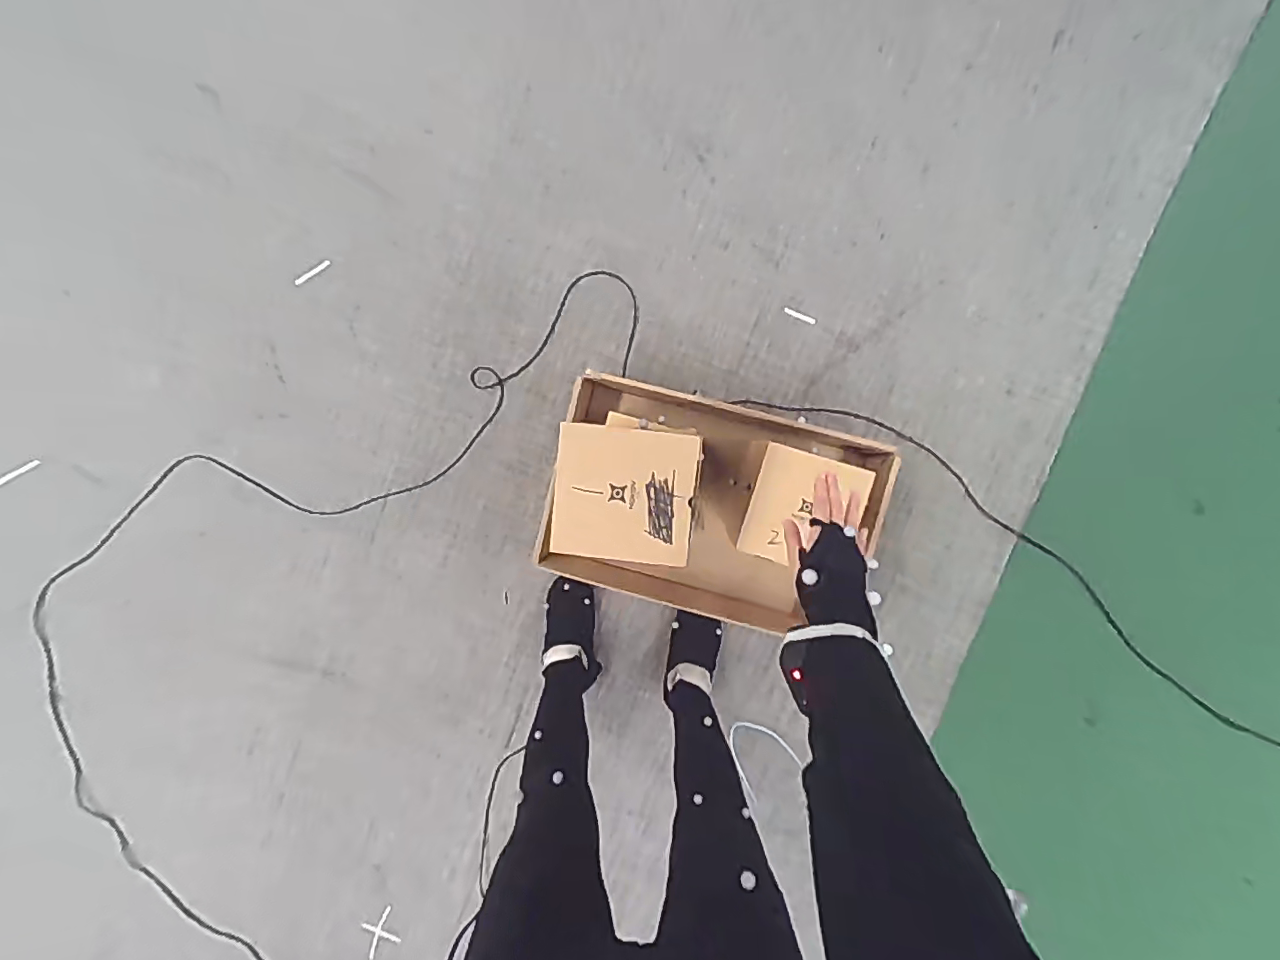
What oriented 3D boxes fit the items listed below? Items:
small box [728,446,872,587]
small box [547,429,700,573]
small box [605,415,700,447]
[{"bbox_3d":[0.249,0.050,0.891,0.168,0.176,0.179,18,95,3],"label":"small box"},{"bbox_3d":[-0.018,0.019,0.746,0.179,0.176,0.168,6,95,3],"label":"small box"},{"bbox_3d":[0.009,-0.024,1.069,0.179,0.176,0.168,16,96,1],"label":"small box"}]
